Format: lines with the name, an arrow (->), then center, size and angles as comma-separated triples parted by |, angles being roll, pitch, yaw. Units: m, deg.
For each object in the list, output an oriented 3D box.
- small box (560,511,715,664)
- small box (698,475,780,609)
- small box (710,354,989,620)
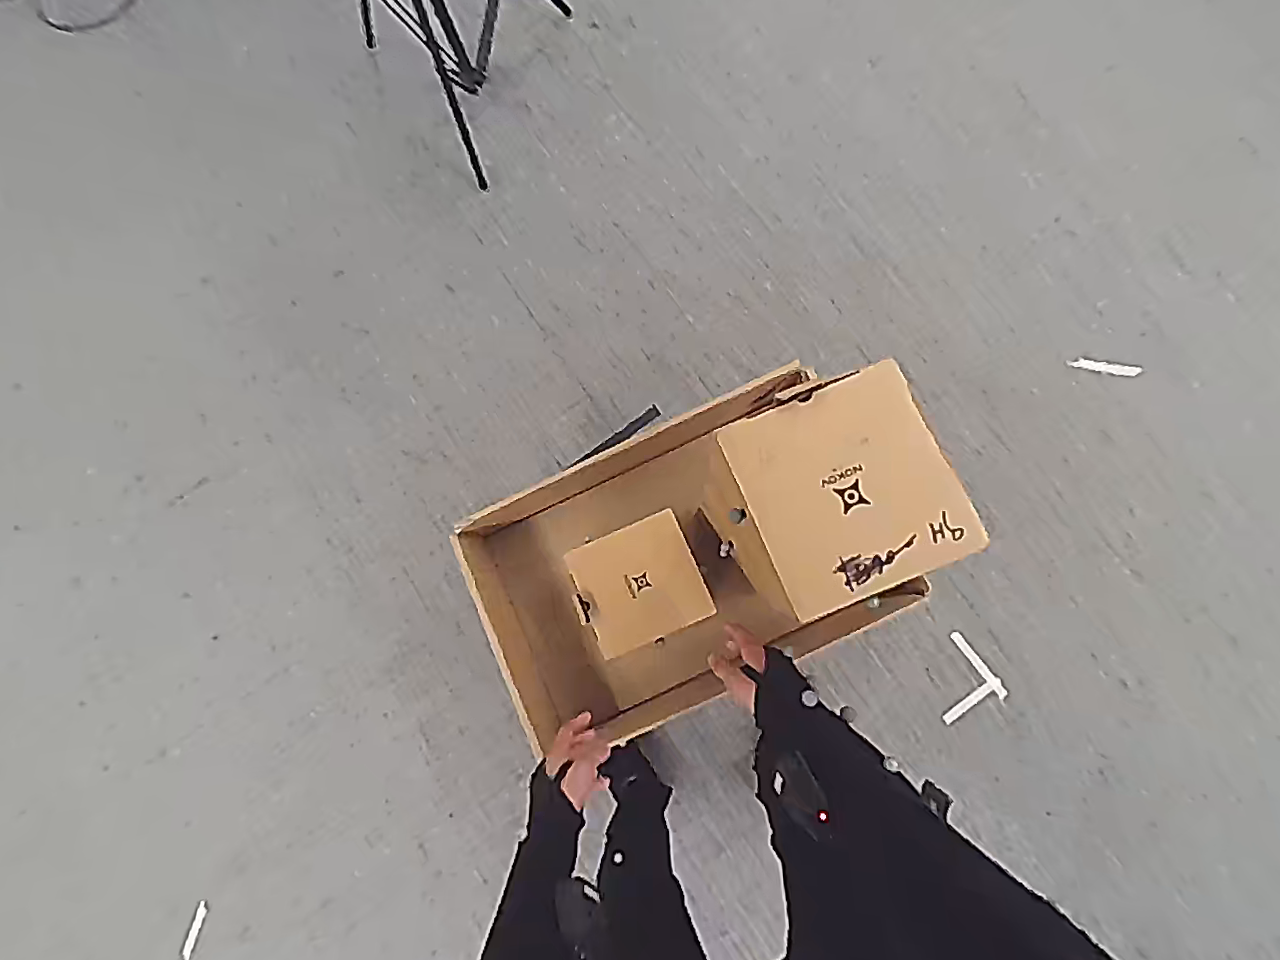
small box -> -0.001, 0.160, 0.840 | 0.179, 0.176, 0.168 | -25, 80, 0
small box -> 0.187, 0.043, 0.673 | 0.179, 0.176, 0.168 | -29, 80, 1
small box -> 0.171, 0.016, 0.512 | 0.168, 0.176, 0.179 | -23, 79, 3
